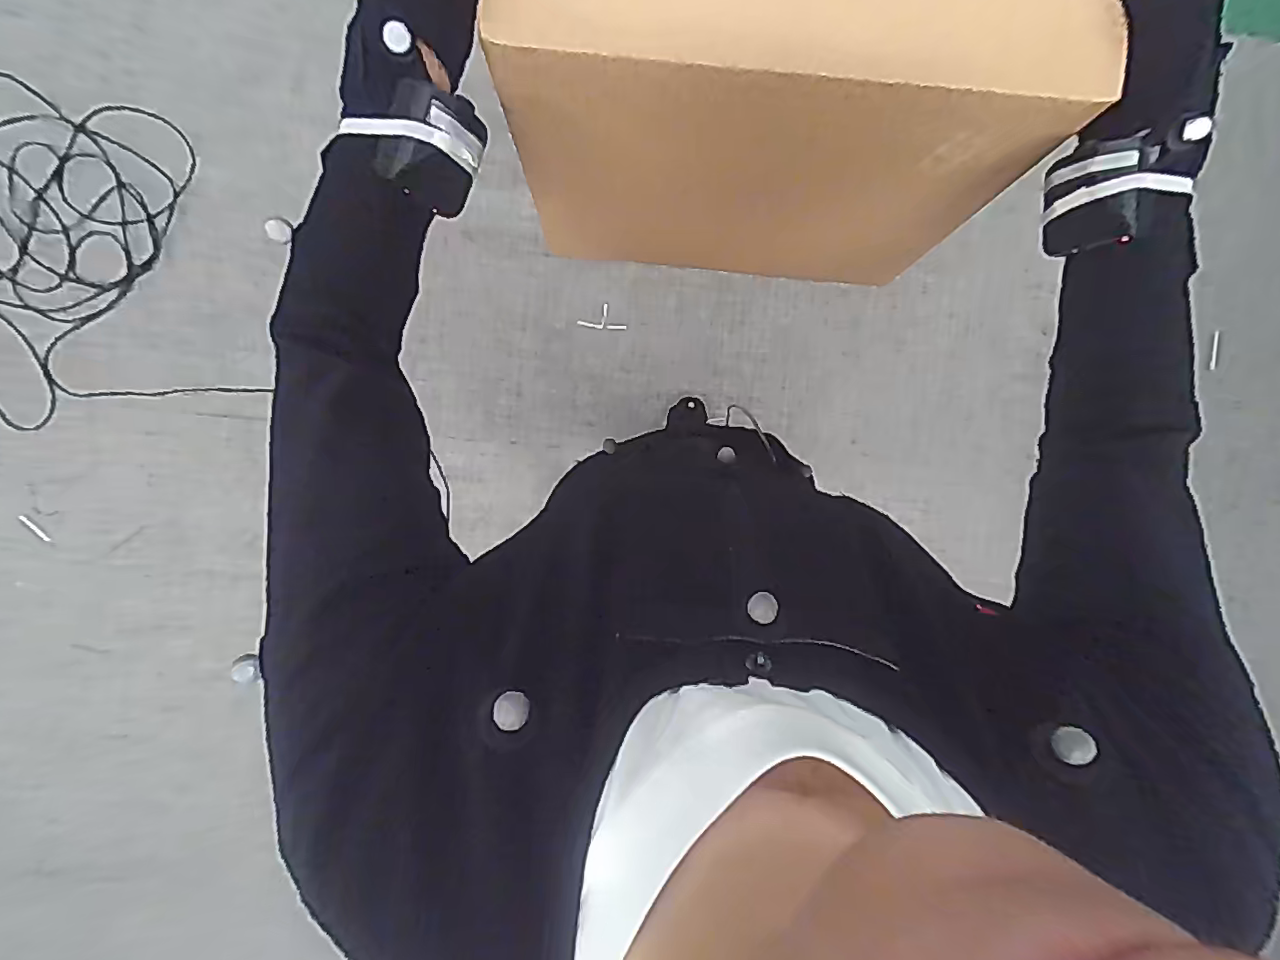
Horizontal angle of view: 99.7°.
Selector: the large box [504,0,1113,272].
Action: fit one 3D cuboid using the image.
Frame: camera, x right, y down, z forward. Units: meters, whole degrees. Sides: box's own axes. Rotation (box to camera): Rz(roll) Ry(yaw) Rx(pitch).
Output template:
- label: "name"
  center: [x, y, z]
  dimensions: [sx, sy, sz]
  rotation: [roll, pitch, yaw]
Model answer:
- label: "large box"
  center: [0.112, -0.414, 0.500]
  dimensions: [0.408, 0.320, 0.320]
  rotation: [4, 90, -2]
